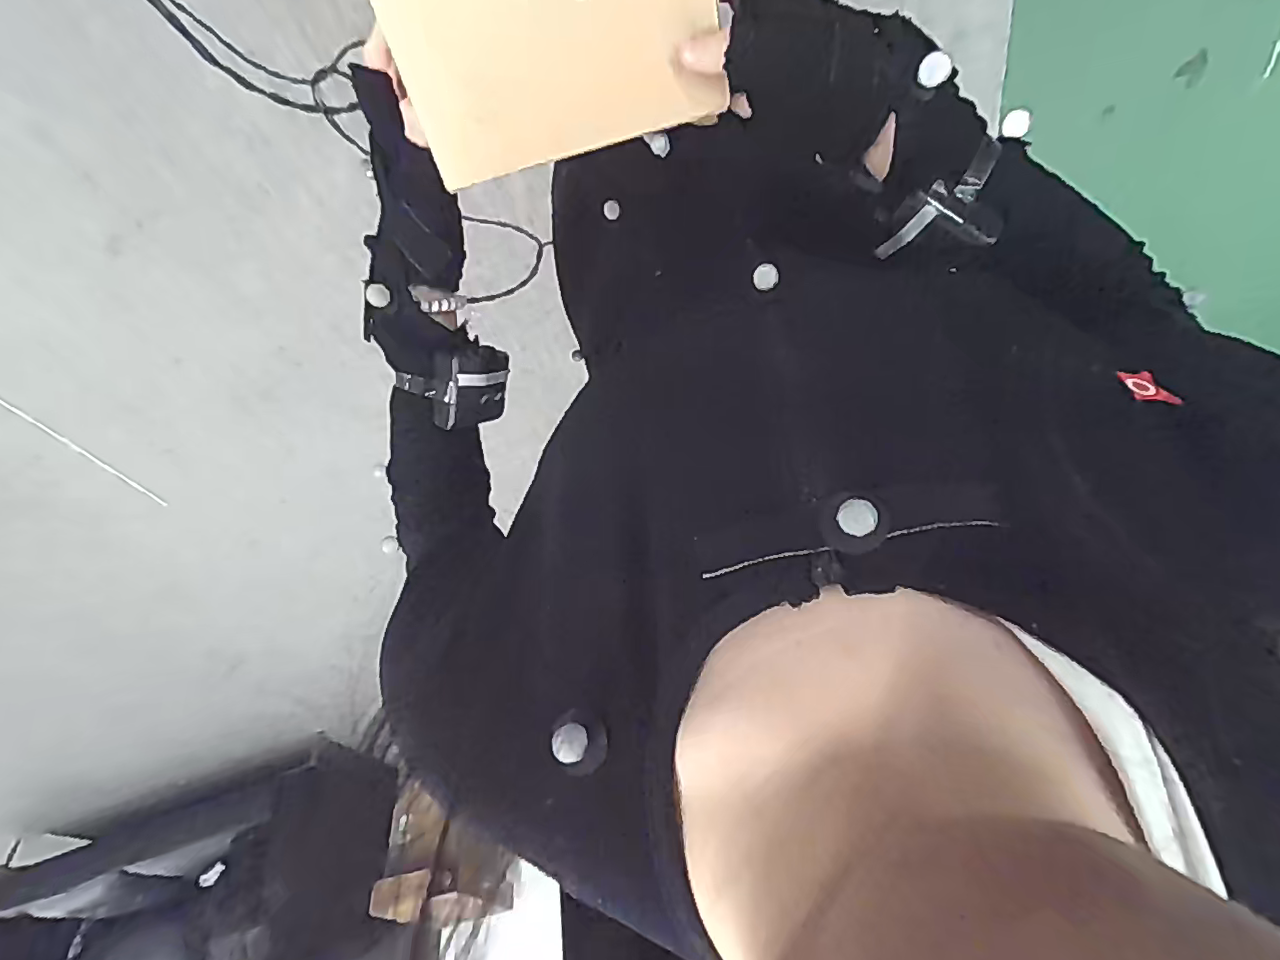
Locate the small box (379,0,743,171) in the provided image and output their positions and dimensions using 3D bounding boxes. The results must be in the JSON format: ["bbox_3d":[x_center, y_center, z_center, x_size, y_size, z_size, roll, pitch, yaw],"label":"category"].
[{"bbox_3d":[-0.061,-0.296,0.318,0.179,0.176,0.168,-20,125,-5],"label":"small box"}]
